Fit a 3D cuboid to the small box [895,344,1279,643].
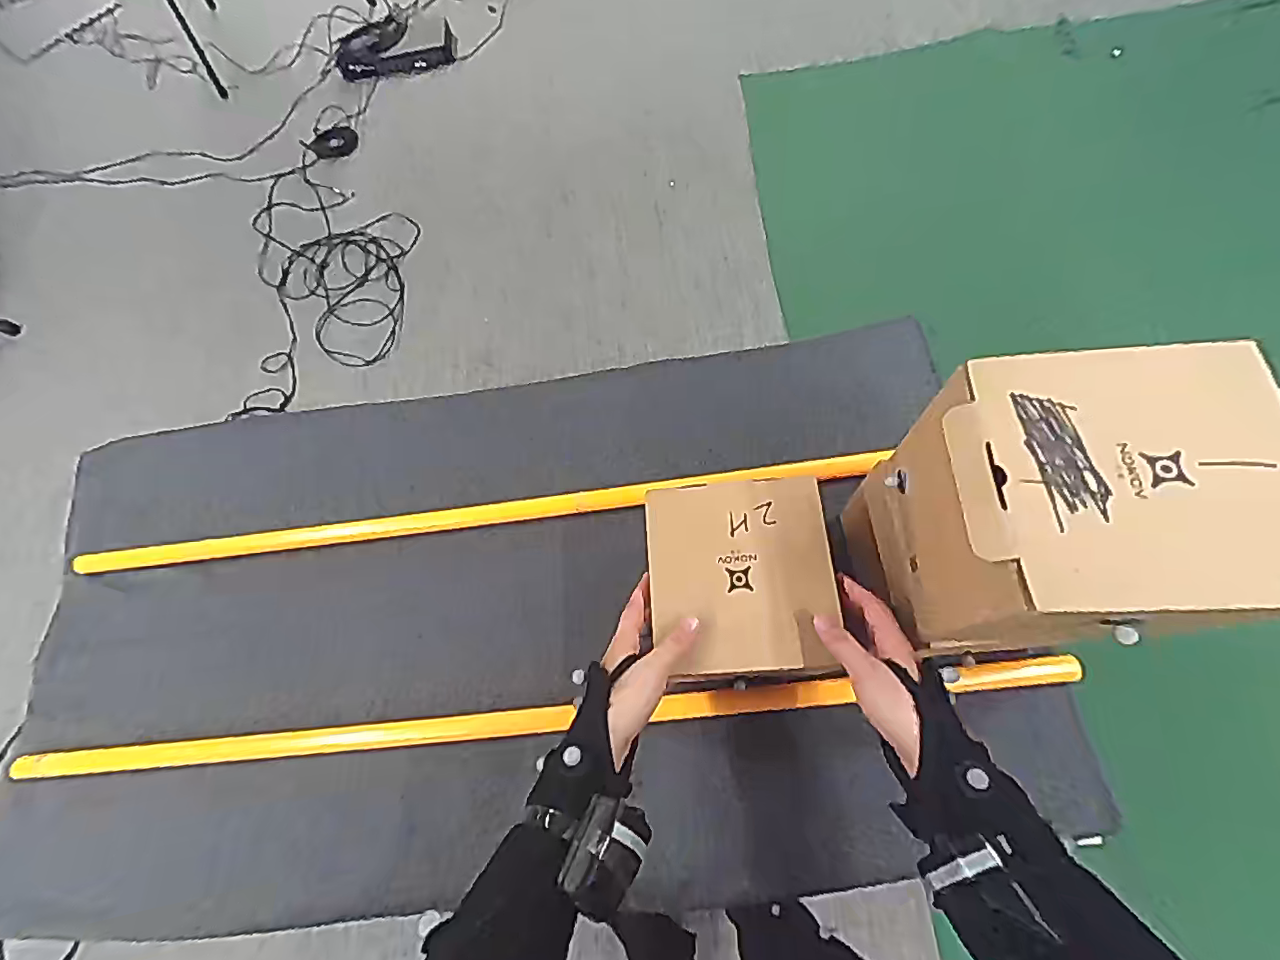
[{"bbox_3d":[0.302,0.024,0.388,0.179,0.176,0.168,-2,68,6],"label":"small box"}]
